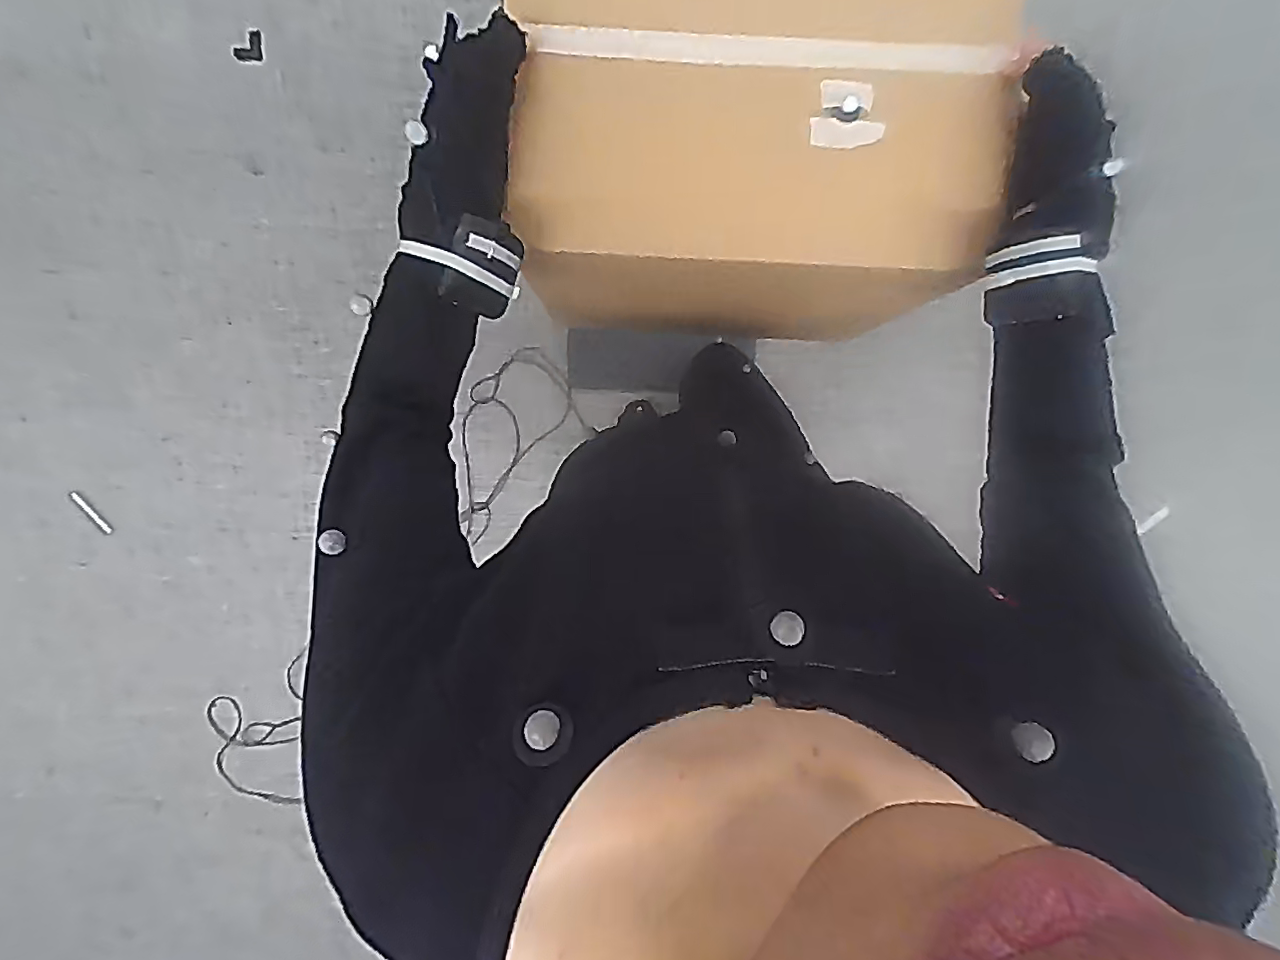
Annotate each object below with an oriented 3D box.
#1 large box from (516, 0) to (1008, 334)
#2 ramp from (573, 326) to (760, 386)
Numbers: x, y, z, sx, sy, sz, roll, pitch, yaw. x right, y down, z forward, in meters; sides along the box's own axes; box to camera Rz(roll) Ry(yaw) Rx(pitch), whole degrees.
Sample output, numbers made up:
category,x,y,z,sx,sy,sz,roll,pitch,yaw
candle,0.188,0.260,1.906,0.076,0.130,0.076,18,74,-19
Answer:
category,x,y,z,sx,sy,sz,roll,pitch,yaw
large box,0.095,-0.350,0.590,0.408,0.320,0.320,2,94,-1
ramp,0.075,-0.731,1.305,0.509,0.206,0.991,-1,97,-1
